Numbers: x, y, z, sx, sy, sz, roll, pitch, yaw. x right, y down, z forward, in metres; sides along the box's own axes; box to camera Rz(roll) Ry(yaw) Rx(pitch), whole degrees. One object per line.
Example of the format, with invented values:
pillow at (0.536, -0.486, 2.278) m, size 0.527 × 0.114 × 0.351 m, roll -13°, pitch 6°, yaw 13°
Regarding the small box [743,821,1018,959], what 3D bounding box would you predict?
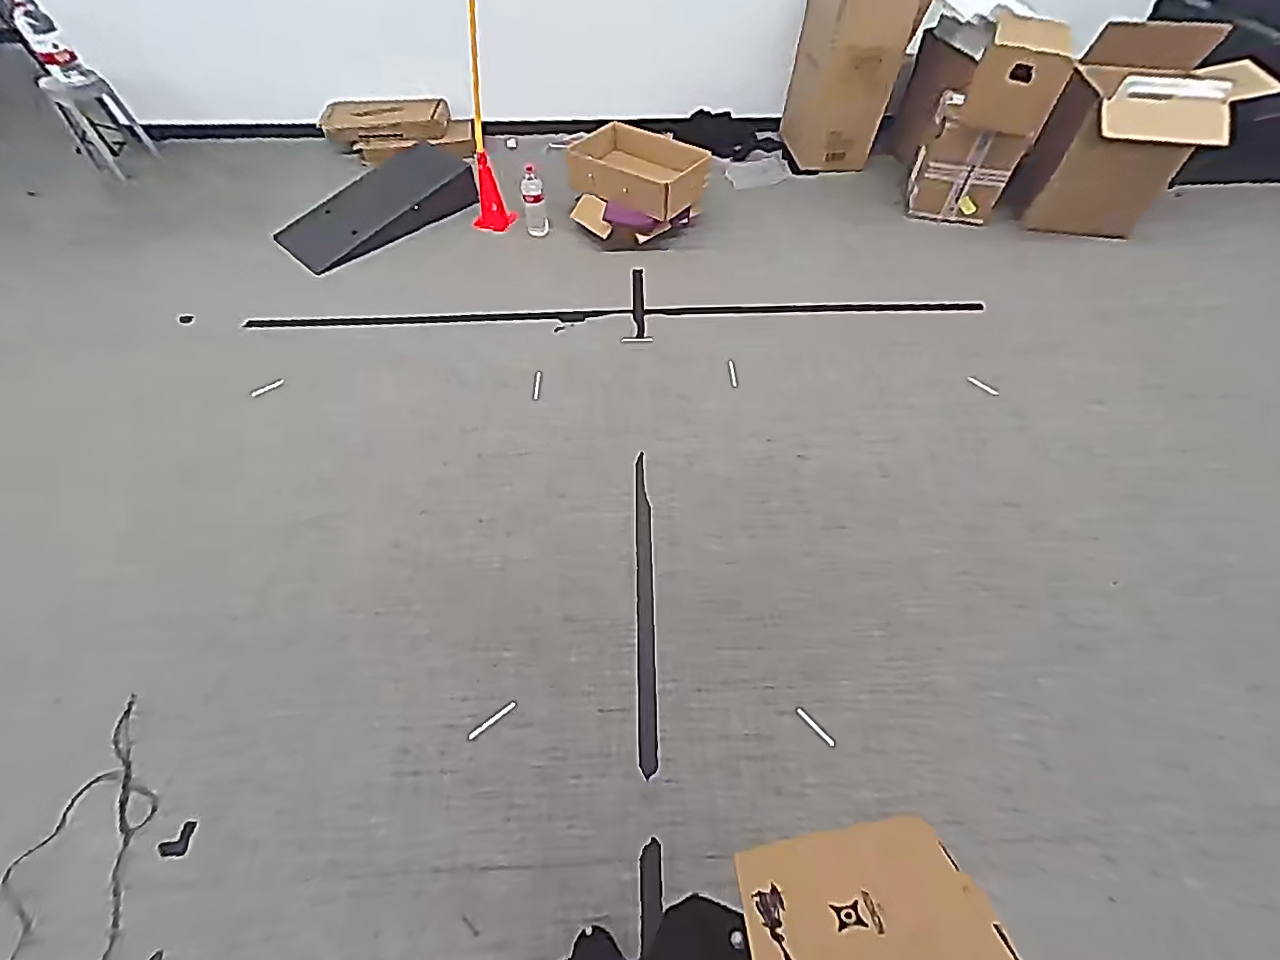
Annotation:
small box at (0.193, 0.418, 0.428) m, size 0.179 × 0.168 × 0.176 m, roll -13°, pitch 94°, yaw 3°
